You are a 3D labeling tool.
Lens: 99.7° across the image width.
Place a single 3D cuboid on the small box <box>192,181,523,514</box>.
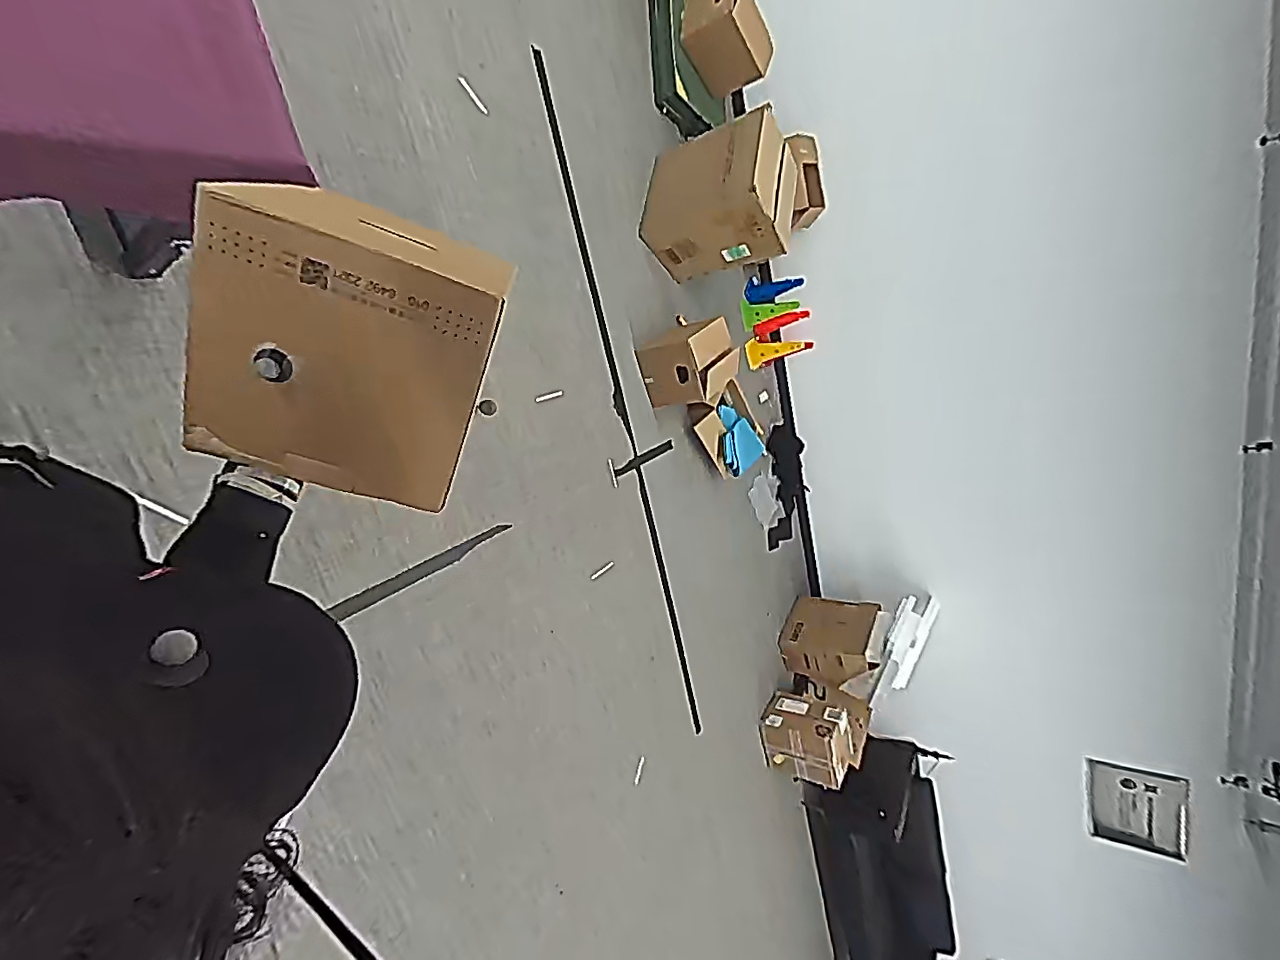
[{"bbox_3d":[-0.193,-0.105,0.407,0.168,0.179,0.176,18,114,-18],"label":"small box"}]
